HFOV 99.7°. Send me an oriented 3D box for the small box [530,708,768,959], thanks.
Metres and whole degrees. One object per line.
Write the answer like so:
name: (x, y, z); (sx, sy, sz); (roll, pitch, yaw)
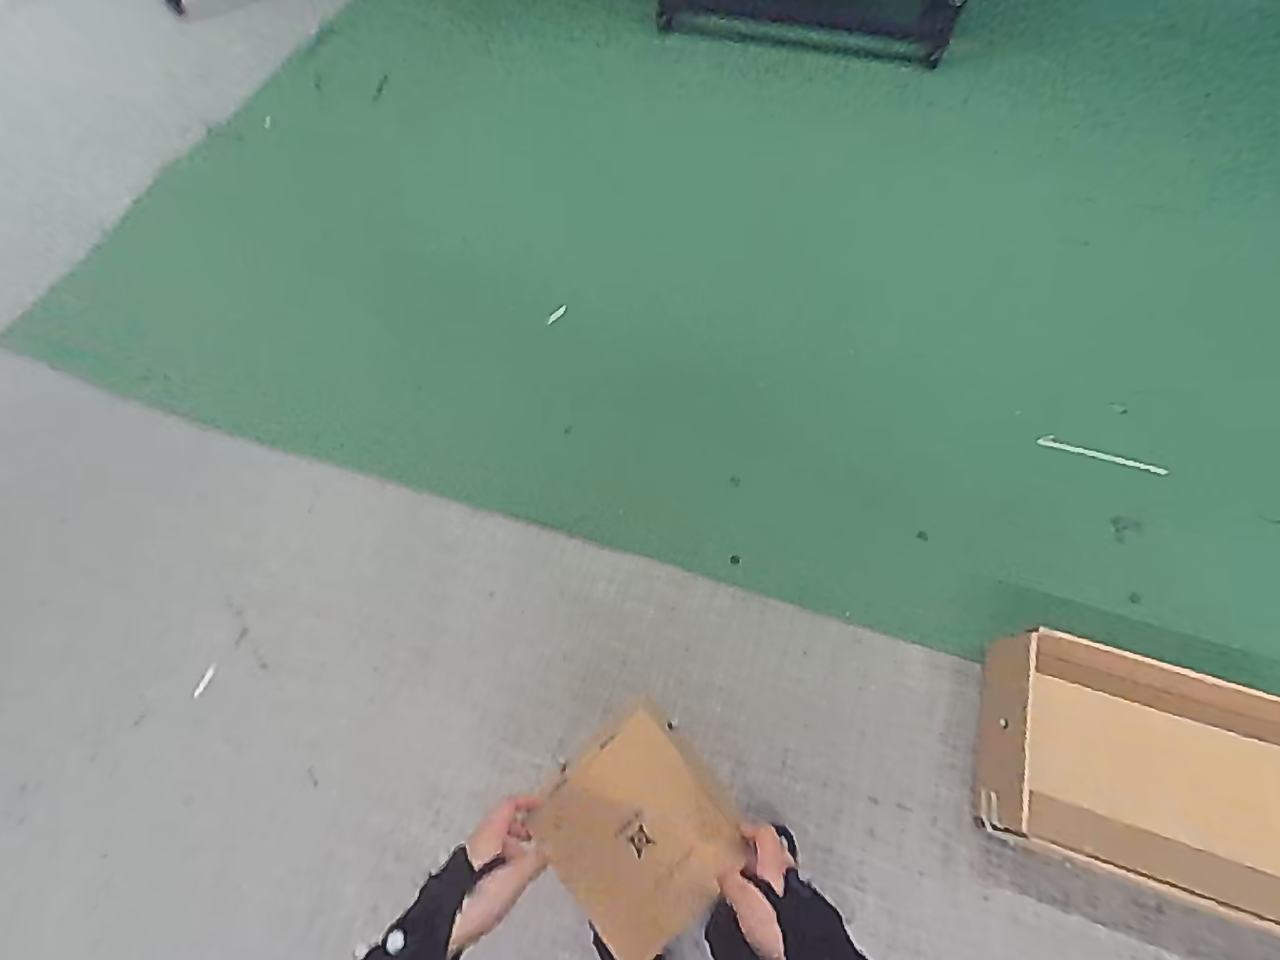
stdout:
small box: (0.008, 0.376, 0.596); (0.168, 0.176, 0.179); (-40, 79, -8)
